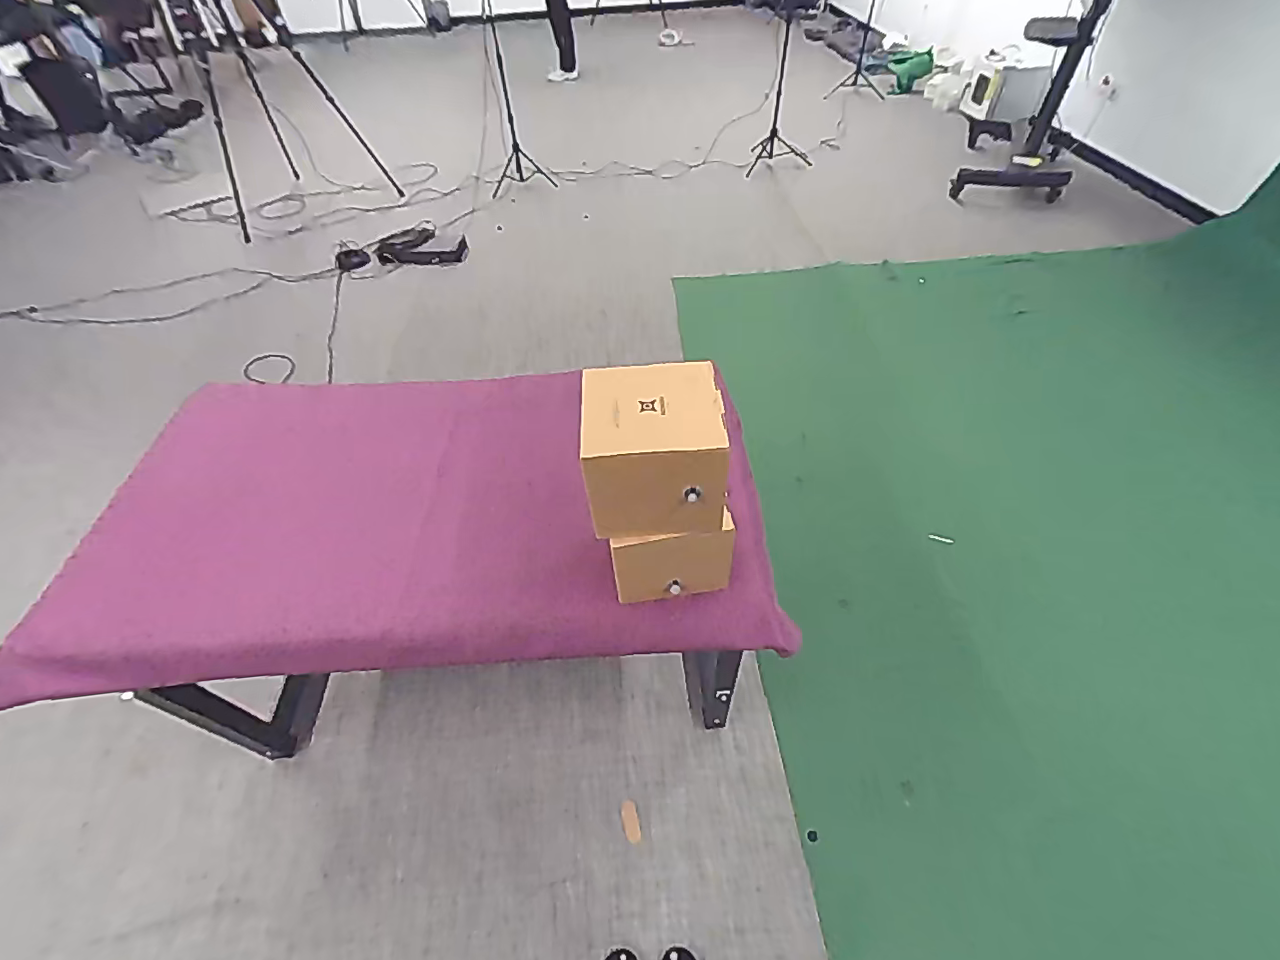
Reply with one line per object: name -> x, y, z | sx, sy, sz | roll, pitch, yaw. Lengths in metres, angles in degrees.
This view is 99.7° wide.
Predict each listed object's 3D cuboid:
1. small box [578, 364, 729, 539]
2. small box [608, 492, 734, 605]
small box -> 0.017, -0.035, 0.730 | 0.179, 0.176, 0.168 | -4, 49, 1
small box -> 0.036, 0.077, 0.849 | 0.179, 0.176, 0.168 | -8, 49, -3
